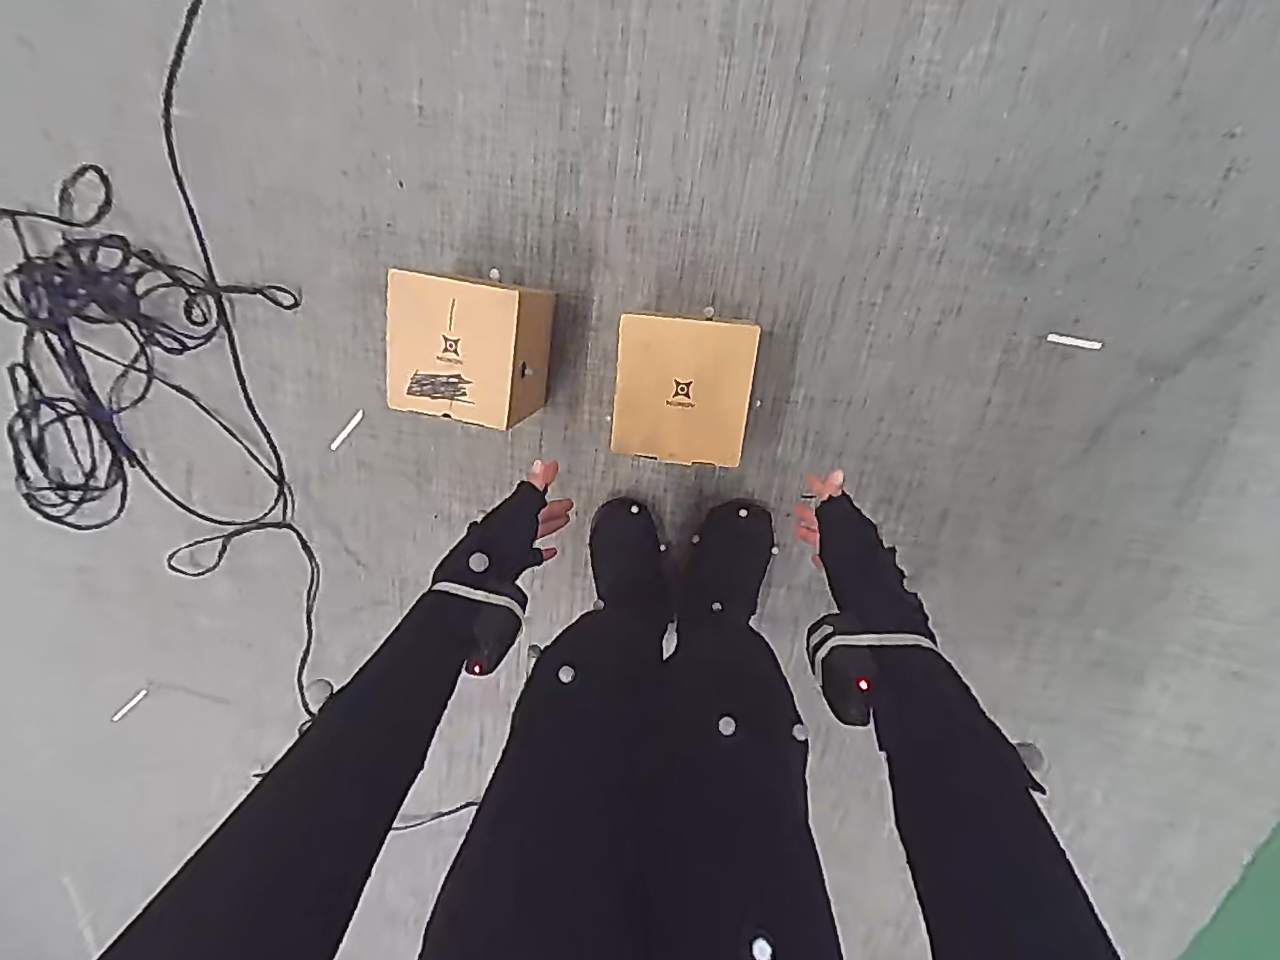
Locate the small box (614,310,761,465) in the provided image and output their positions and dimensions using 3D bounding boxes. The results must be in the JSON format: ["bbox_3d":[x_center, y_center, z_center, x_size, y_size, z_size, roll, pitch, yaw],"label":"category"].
[{"bbox_3d":[0.063,-0.135,0.739,0.168,0.176,0.179,7,110,5],"label":"small box"}]

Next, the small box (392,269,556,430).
[{"bbox_3d":[-0.223,-0.187,0.756,0.168,0.176,0.179,12,109,3],"label":"small box"}]
